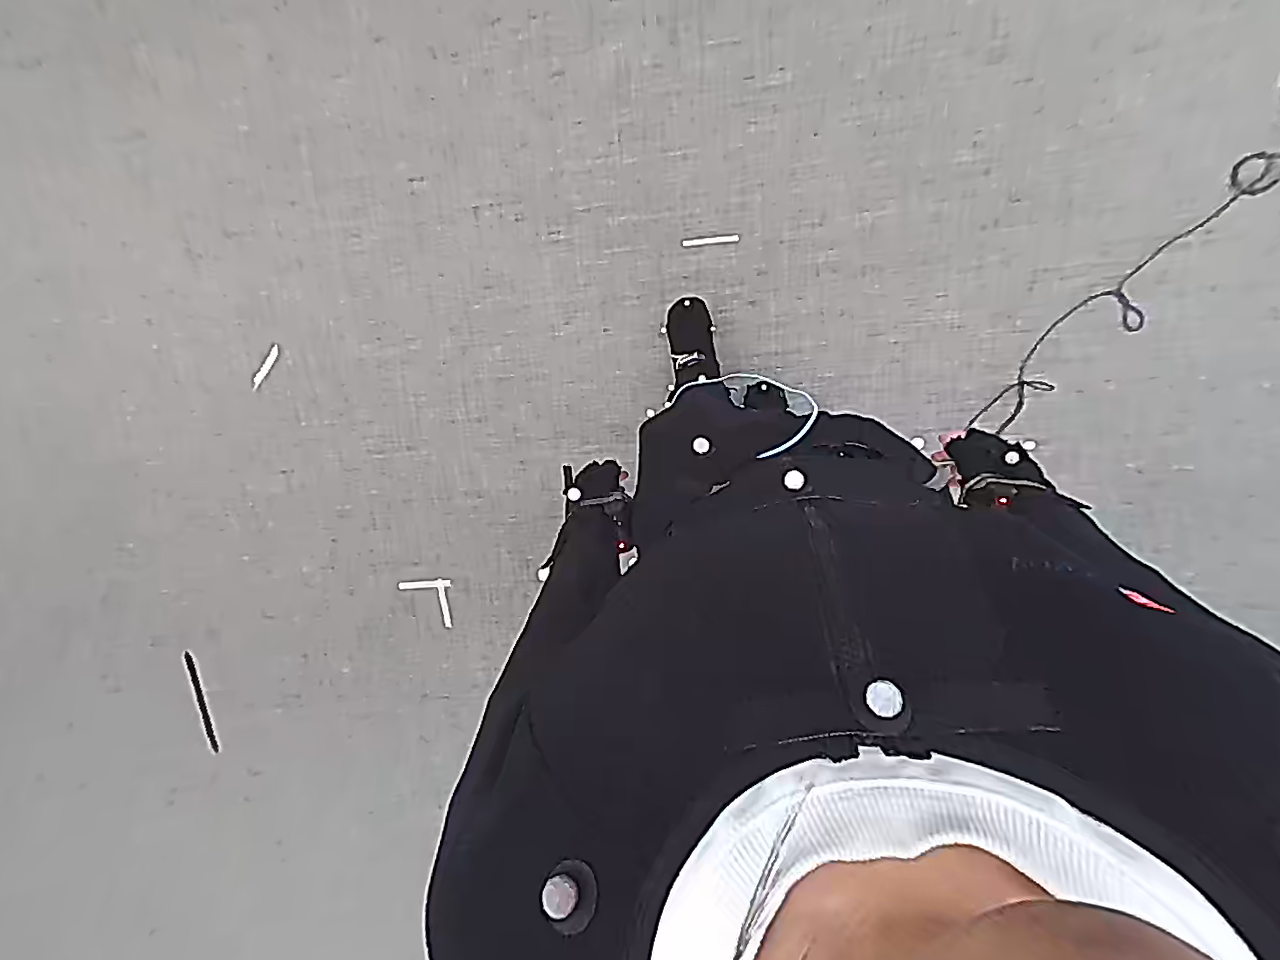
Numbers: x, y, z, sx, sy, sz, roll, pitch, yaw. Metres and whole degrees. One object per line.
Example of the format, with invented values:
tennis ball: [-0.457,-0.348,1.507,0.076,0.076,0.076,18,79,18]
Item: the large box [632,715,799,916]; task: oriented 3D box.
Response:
large box: [0.208,0.897,1.490,0.408,0.320,0.320,5,101,10]
